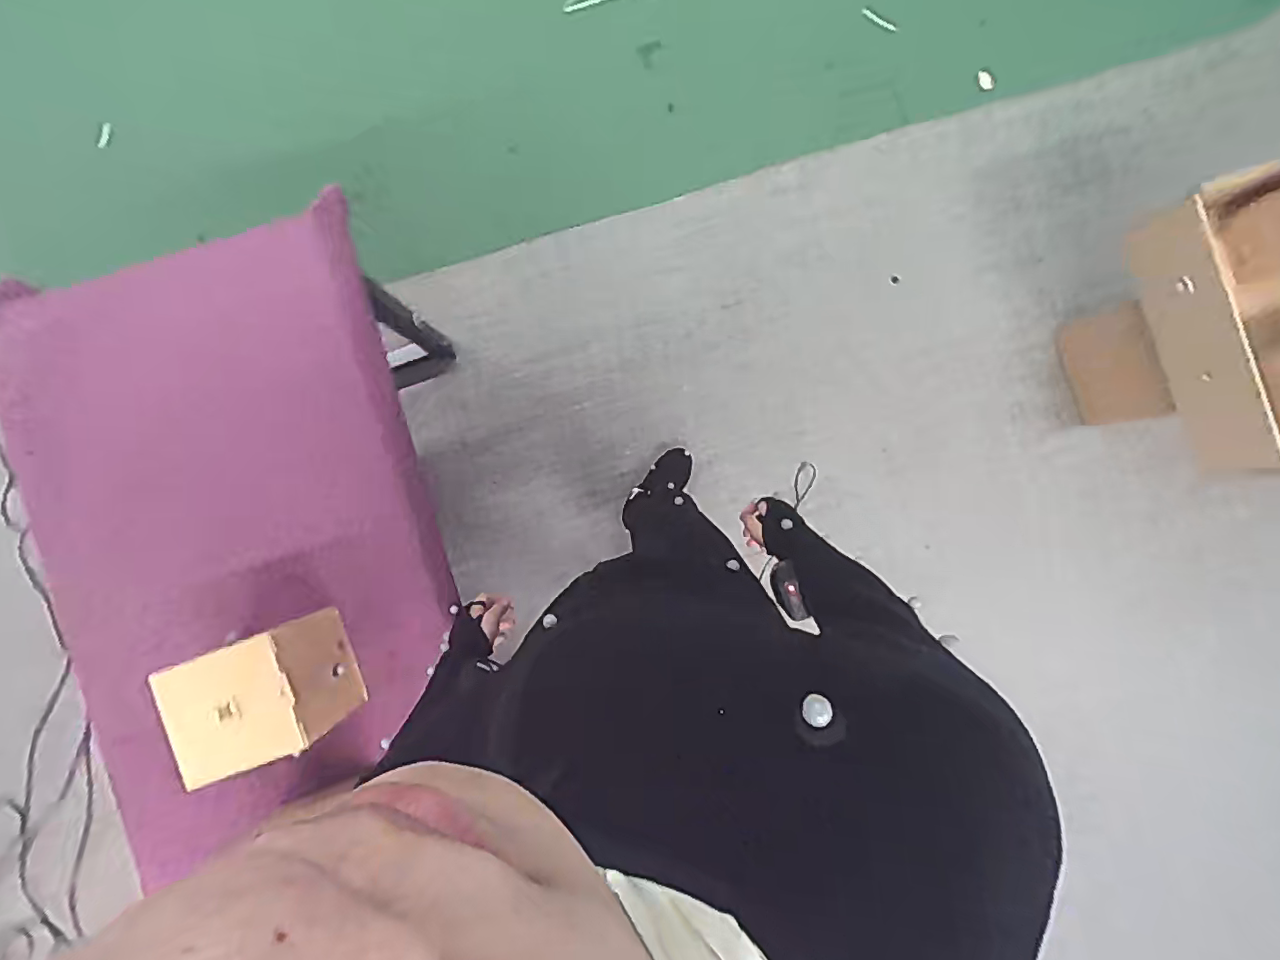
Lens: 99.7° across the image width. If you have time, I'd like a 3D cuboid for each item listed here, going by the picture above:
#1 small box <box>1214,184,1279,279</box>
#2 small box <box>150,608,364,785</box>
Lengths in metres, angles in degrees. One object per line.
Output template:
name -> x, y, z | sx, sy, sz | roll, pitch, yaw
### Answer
small box -> 1.409, -0.553, 1.153 | 0.179, 0.176, 0.168 | -15, 89, -1
small box -> -0.559, 0.311, 0.813 | 0.179, 0.176, 0.168 | -21, 90, -2
